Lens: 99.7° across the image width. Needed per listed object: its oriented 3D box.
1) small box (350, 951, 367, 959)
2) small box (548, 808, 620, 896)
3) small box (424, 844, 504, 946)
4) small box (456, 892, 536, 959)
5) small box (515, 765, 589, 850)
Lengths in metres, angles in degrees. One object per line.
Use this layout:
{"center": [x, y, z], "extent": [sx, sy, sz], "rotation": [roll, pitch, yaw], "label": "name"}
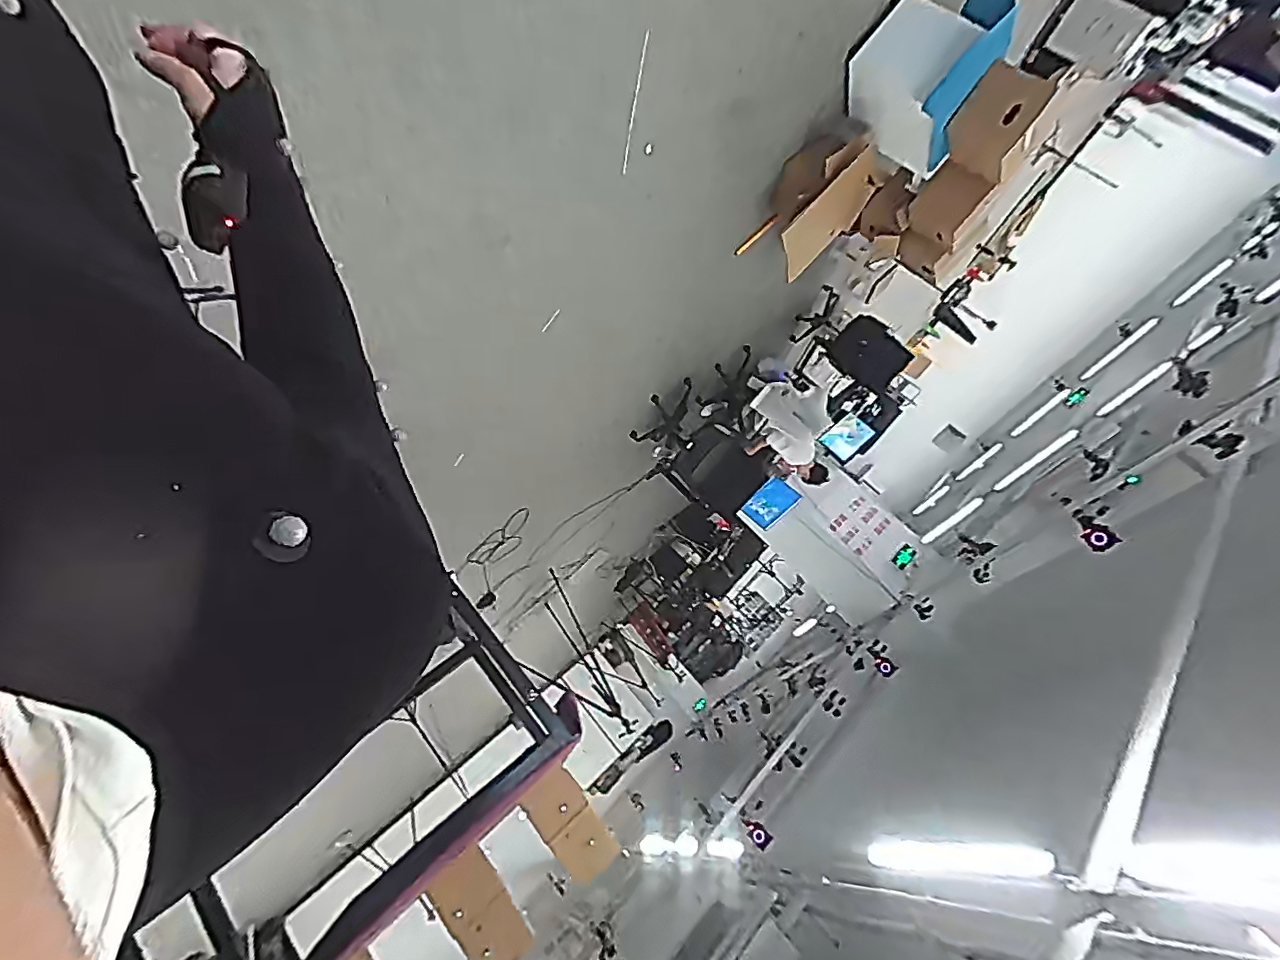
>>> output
{"center": [-0.799, 1.427, 1.447], "extent": [0.179, 0.176, 0.168], "rotation": [-34, 162, -30], "label": "small box"}
{"center": [-0.185, 1.188, 1.743], "extent": [0.168, 0.176, 0.179], "rotation": [-36, 162, -25], "label": "small box"}
{"center": [-0.533, 1.245, 1.634], "extent": [0.179, 0.176, 0.168], "rotation": [-35, 161, -30], "label": "small box"}
{"center": [-0.425, 1.360, 1.594], "extent": [0.168, 0.176, 0.179], "rotation": [-33, 160, -29], "label": "small box"}
{"center": [-0.293, 1.074, 1.787], "extent": [0.179, 0.176, 0.168], "rotation": [-35, 160, -26], "label": "small box"}
